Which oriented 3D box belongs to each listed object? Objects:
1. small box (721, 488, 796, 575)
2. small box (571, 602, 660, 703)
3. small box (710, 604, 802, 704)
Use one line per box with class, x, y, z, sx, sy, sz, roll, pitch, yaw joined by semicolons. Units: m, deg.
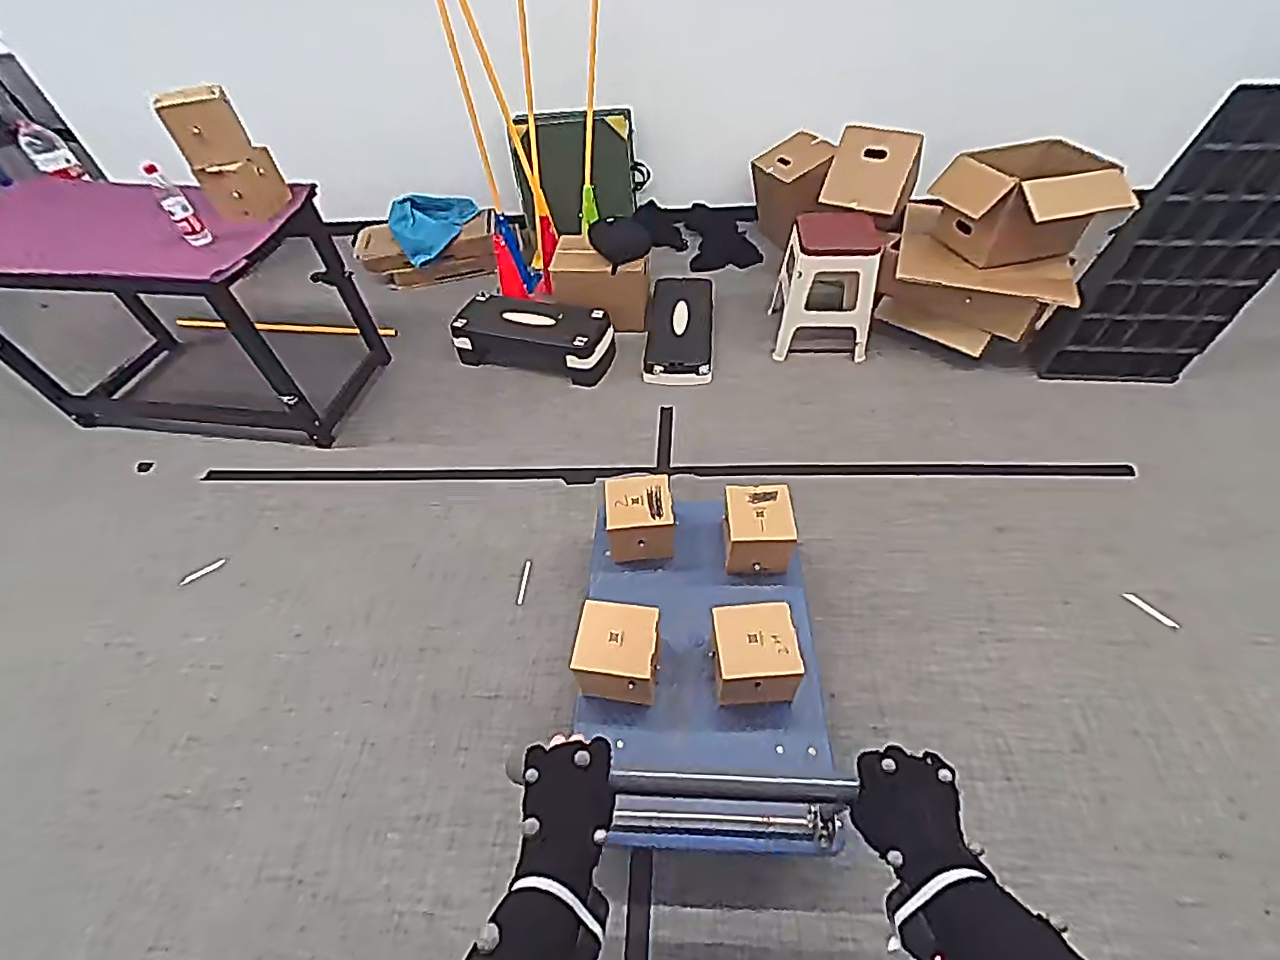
small box;0.312;0.139;1.457;0.168;0.176;0.179;-1;51;3
small box;-0.050;0.405;1.262;0.179;0.176;0.168;5;51;6
small box;0.256;0.403;1.241;0.179;0.176;0.168;-4;50;1
